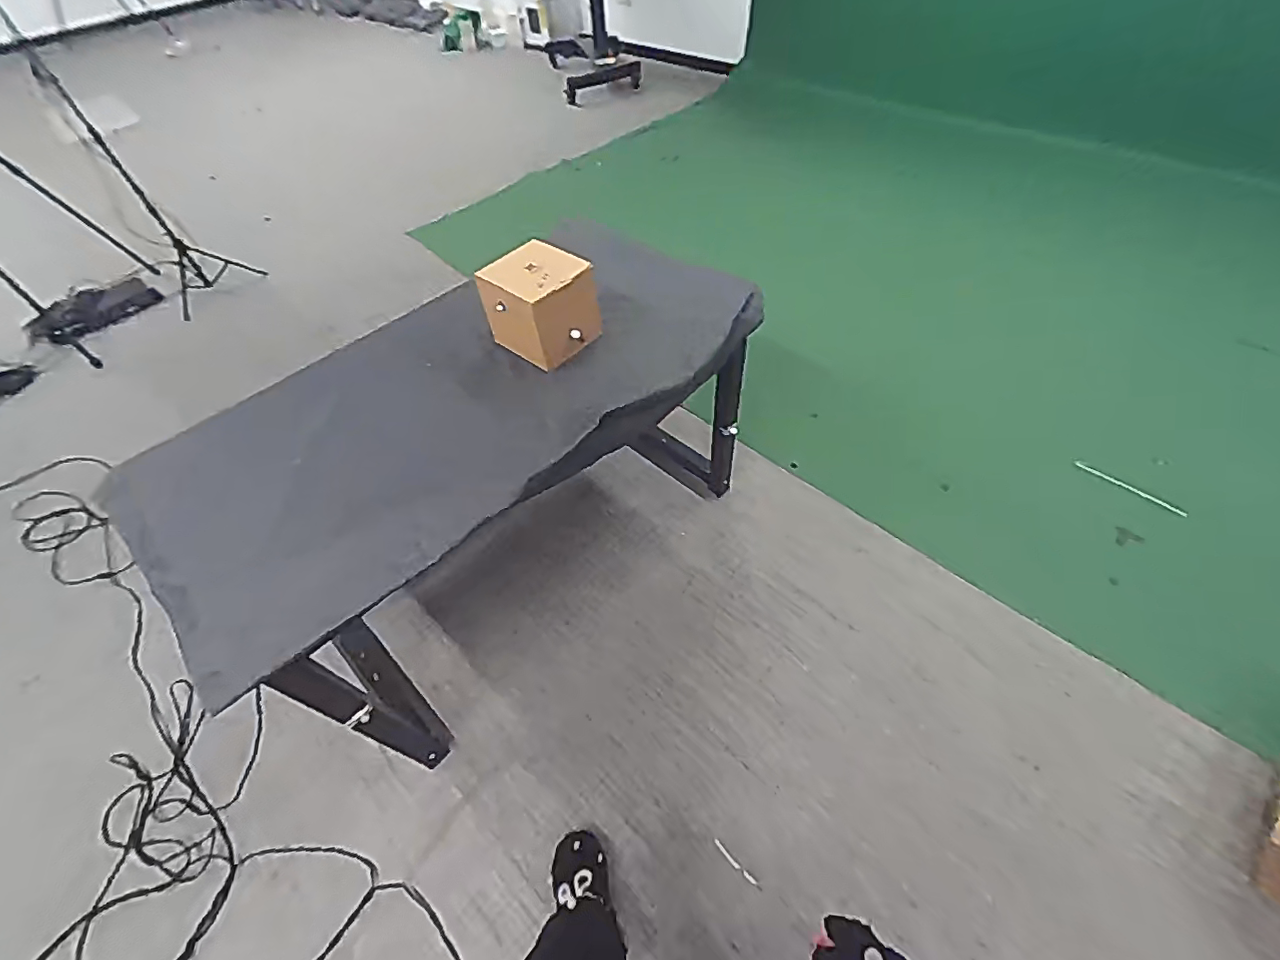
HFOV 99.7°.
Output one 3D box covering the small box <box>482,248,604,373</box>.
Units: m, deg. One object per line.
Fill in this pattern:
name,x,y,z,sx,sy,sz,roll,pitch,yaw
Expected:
small box,-0.197,-0.354,1.139,0.179,0.176,0.168,34,62,27
